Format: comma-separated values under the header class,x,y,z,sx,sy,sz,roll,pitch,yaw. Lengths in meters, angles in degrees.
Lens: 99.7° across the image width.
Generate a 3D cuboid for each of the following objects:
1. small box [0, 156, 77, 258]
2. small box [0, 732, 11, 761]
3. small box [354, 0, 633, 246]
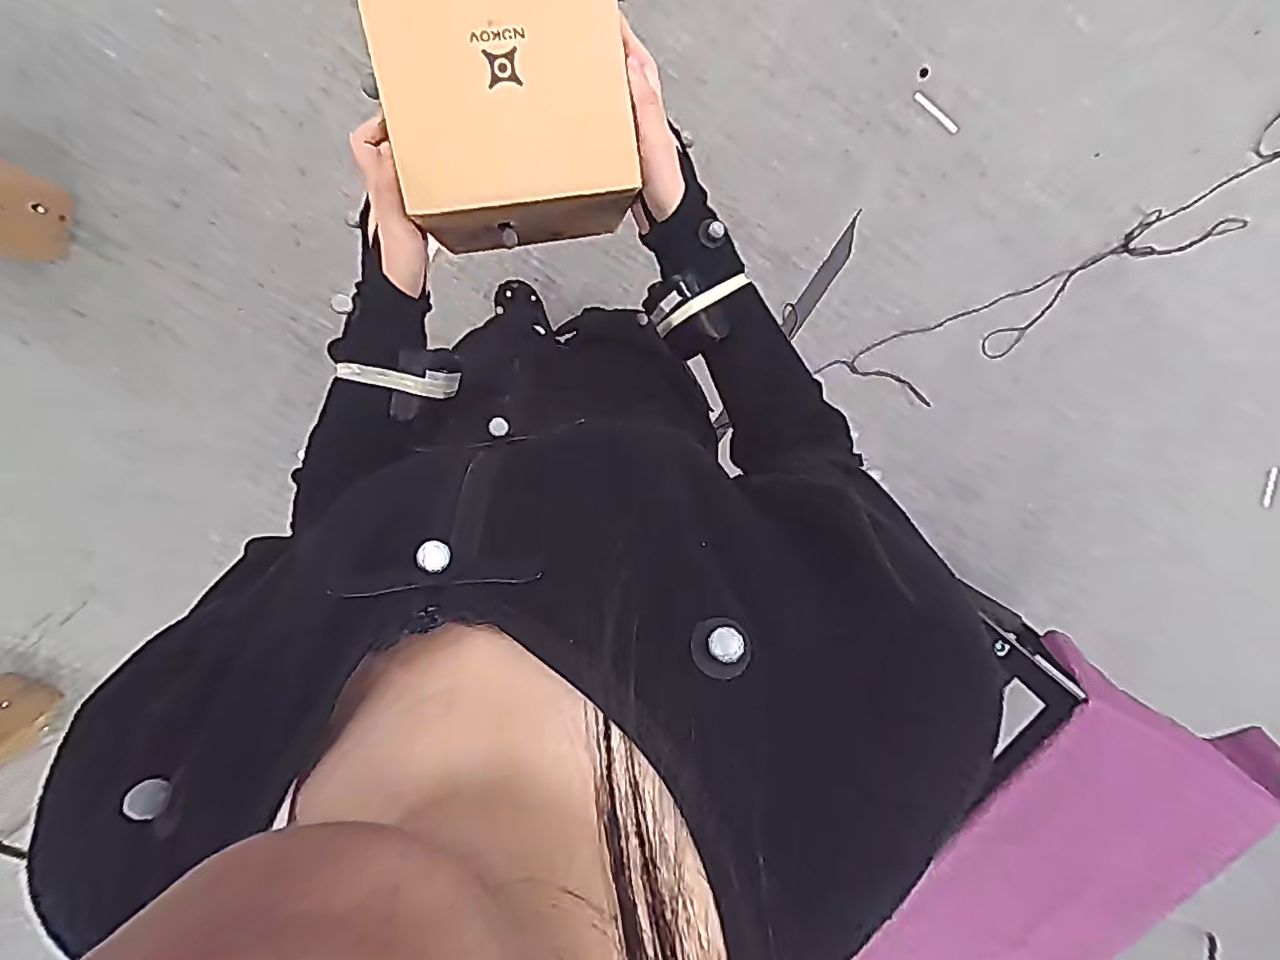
class,x,y,z,sx,sy,sz,roll,pitch,yaw
small box,-1.378,-0.593,1.153,0.179,0.176,0.168,25,104,-11
small box,-1.822,0.741,1.394,0.179,0.176,0.168,33,104,-15
small box,-0.104,-0.295,0.432,0.168,0.176,0.179,-10,104,-6
